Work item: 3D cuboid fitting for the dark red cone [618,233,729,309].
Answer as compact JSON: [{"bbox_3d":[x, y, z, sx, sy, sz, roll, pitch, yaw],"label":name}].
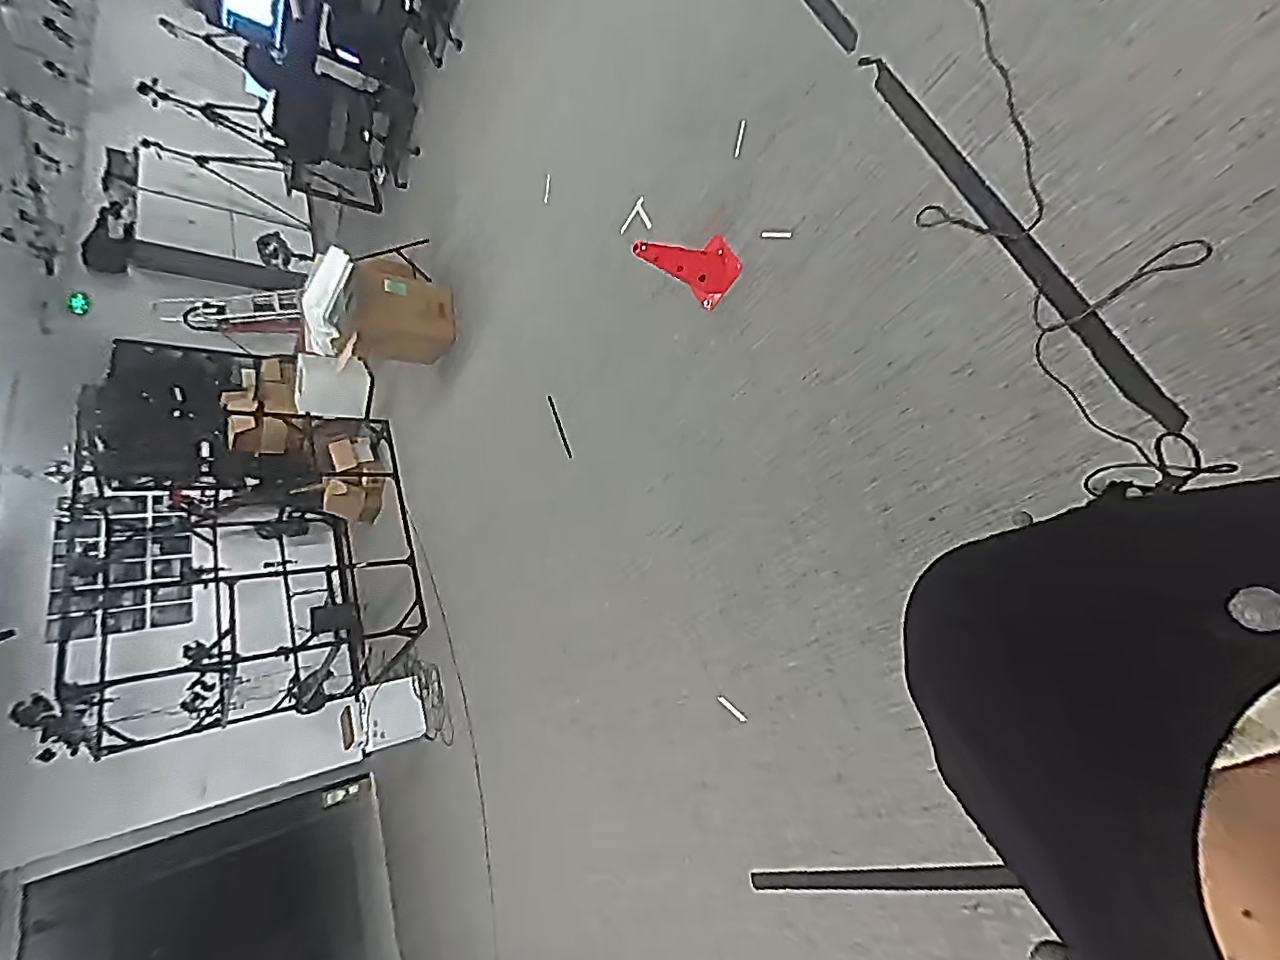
[{"bbox_3d":[0.092,-0.726,1.780,0.201,0.394,0.202,-50,54,37],"label":"dark red cone"}]
